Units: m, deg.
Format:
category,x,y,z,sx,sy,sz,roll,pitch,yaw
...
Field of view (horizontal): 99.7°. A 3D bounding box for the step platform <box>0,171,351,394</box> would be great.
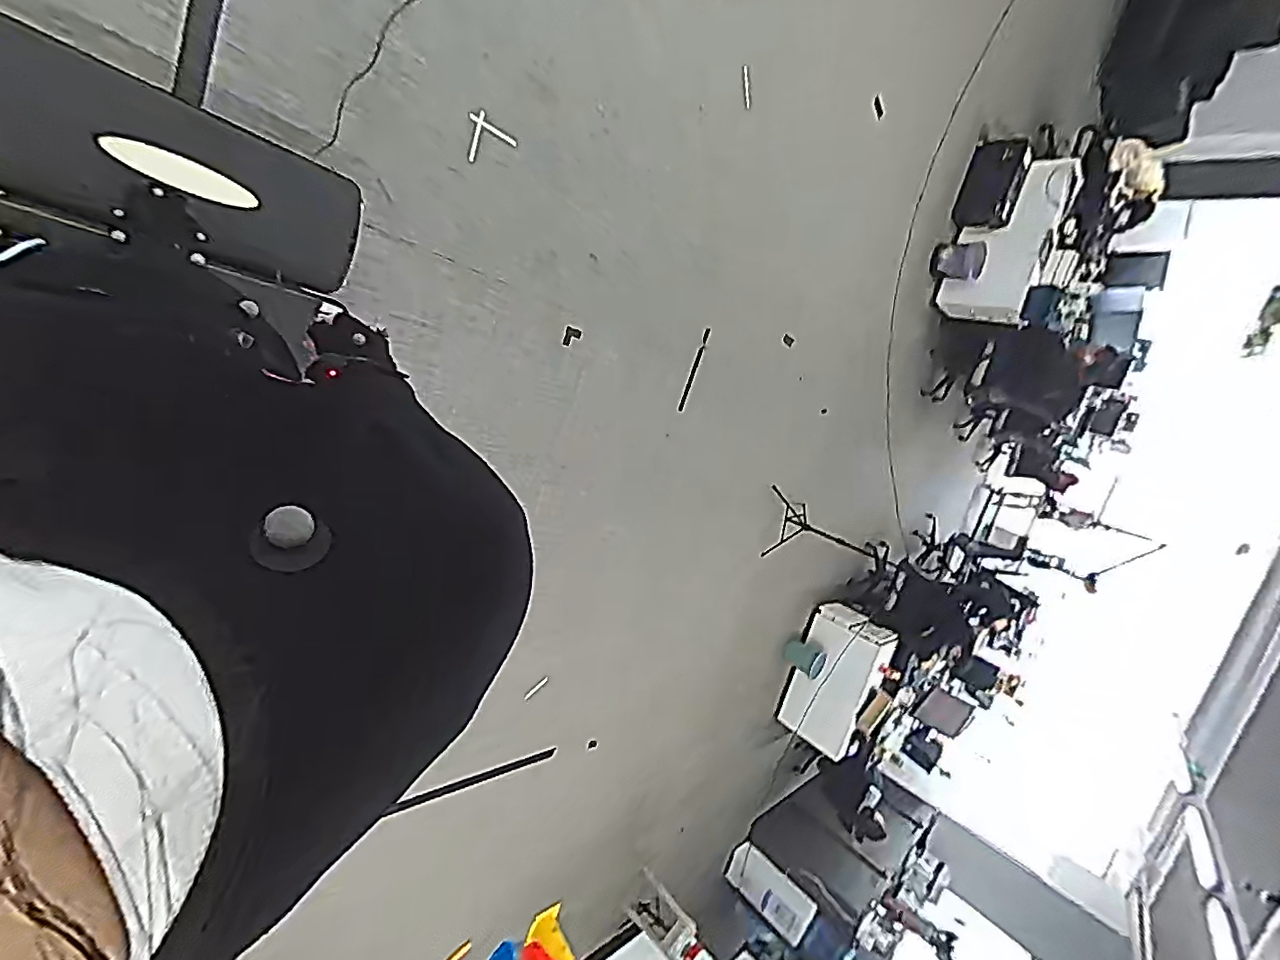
category,x,y,z,sx,sy,sz,roll,pitch,yaw
step platform,-0.997,-0.385,1.137,0.684,0.204,0.286,7,103,-47
